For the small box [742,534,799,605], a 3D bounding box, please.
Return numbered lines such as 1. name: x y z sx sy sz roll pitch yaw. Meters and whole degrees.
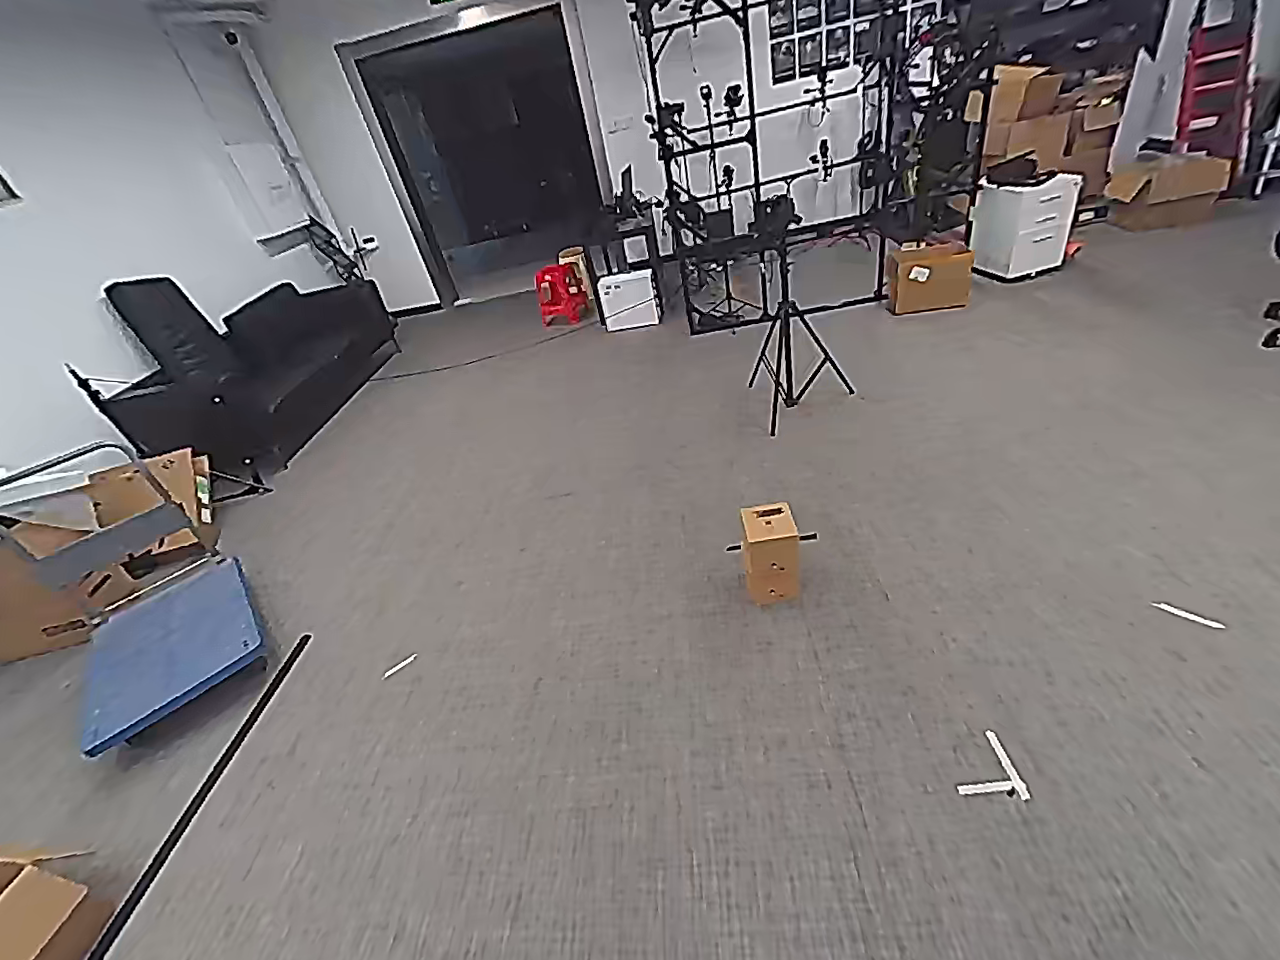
1. small box: 0.475 0.327 1.977 0.168 0.176 0.179 -12 34 3
